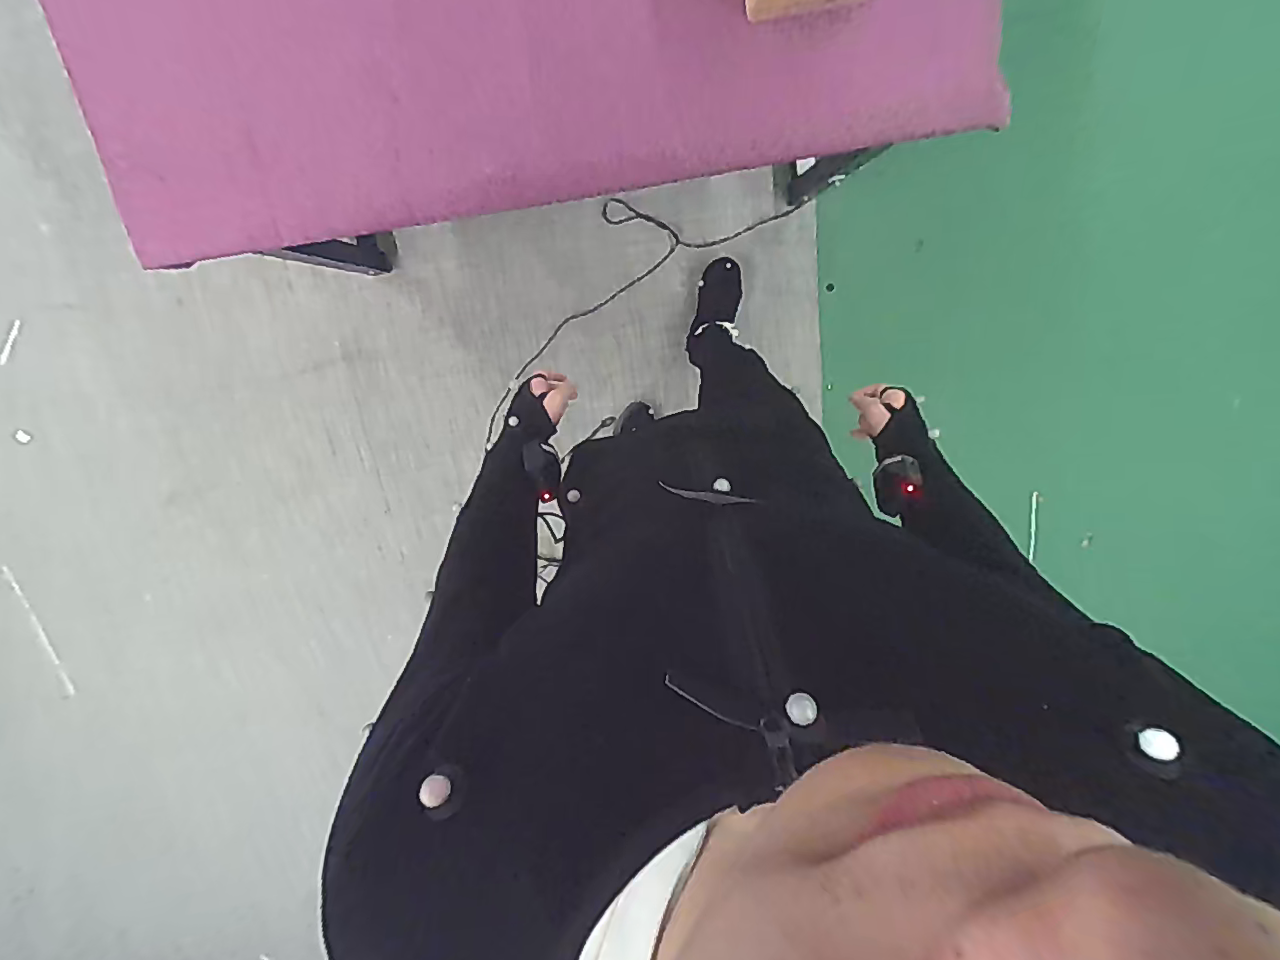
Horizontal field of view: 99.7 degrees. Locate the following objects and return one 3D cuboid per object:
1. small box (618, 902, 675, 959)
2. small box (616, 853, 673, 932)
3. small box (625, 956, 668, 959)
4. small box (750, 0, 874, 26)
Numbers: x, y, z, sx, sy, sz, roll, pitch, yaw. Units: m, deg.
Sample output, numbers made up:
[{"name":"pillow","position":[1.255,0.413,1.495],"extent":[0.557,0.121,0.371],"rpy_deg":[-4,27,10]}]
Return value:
[{"name":"small box","position":[0.021,1.539,1.787],"extent":[0.168,0.176,0.179],"rpy_deg":[-11,106,1]},{"name":"small box","position":[0.017,1.495,1.944],"extent":[0.168,0.176,0.179],"rpy_deg":[-14,105,2]},{"name":"small box","position":[0.021,1.585,1.632],"extent":[0.168,0.176,0.179],"rpy_deg":[-10,106,1]},{"name":"small box","position":[0.211,-0.663,0.601],"extent":[0.168,0.176,0.179],"rpy_deg":[-9,104,2]}]
